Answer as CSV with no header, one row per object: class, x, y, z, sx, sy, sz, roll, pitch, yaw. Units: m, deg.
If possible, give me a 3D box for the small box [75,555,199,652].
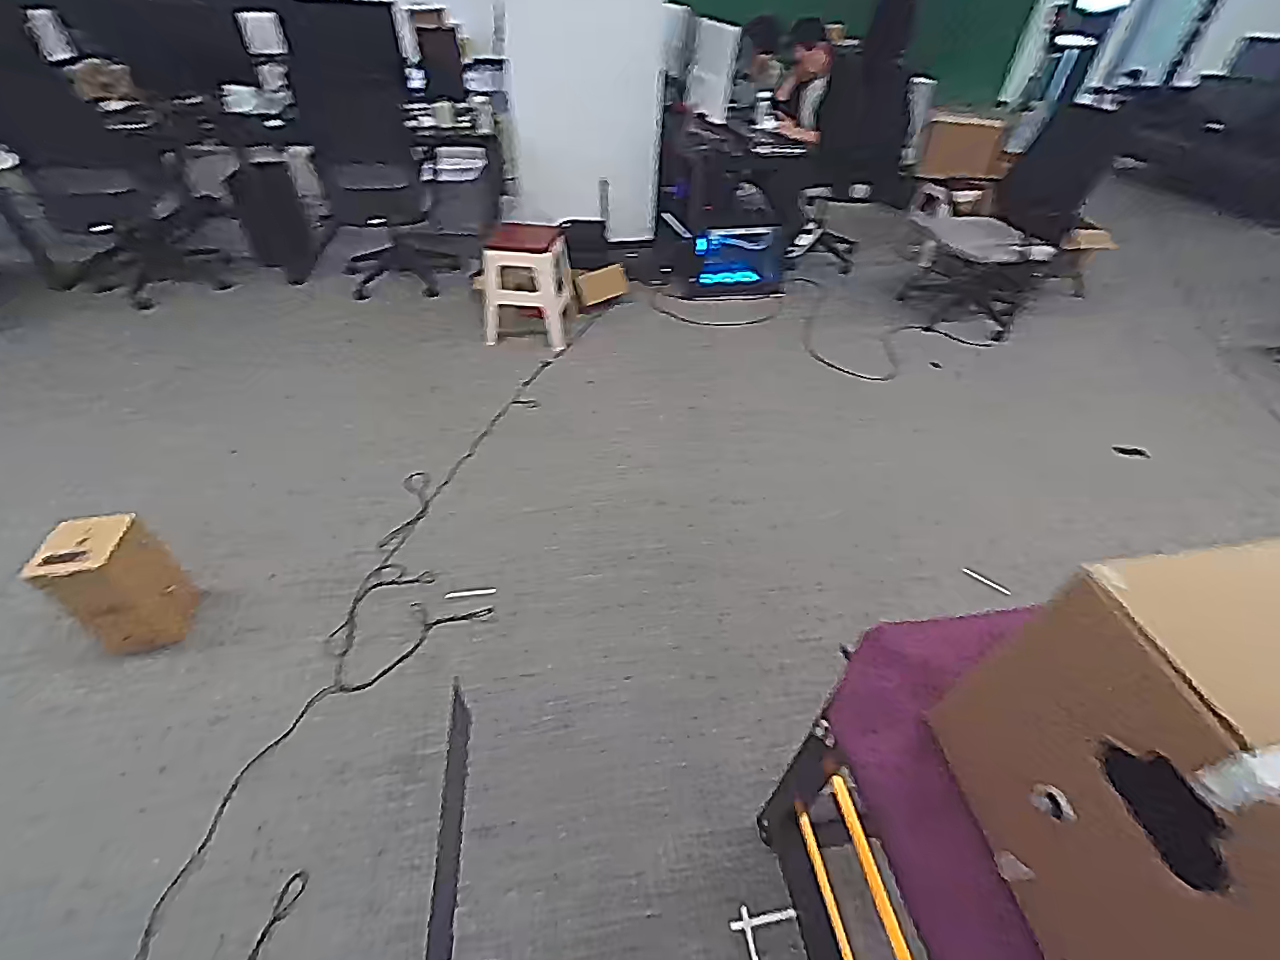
small box,-1.345,0.335,1.465,0.168,0.176,0.179,-10,45,-13
